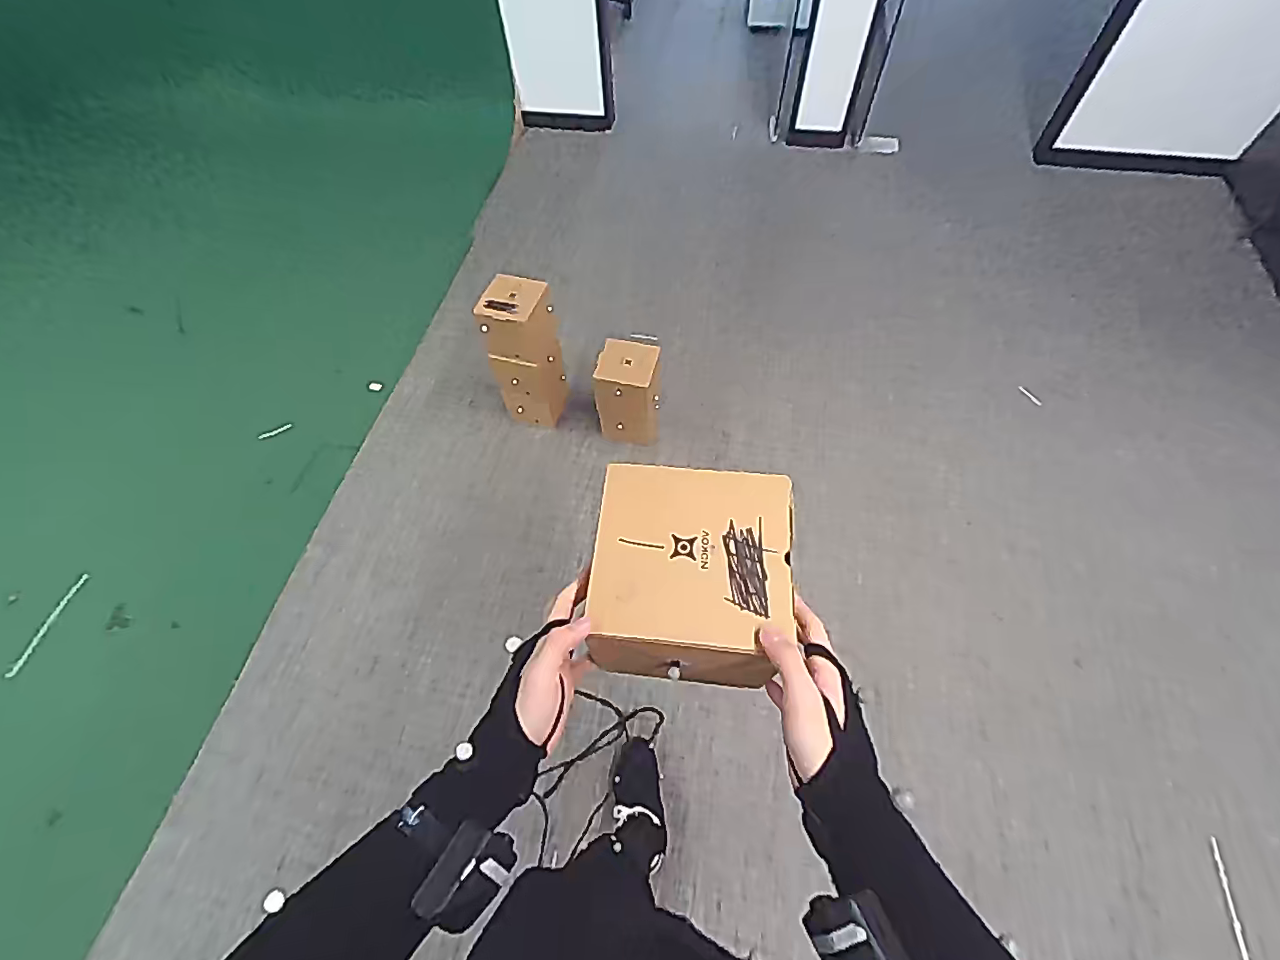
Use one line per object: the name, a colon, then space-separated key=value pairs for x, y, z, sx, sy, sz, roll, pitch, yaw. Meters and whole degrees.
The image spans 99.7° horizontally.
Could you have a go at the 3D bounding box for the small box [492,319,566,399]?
small box: x=-0.353 y=-0.391 z=1.767 sx=0.168 sy=0.176 sz=0.179 roll=14 pitch=61 yaw=10

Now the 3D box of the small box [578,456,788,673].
small box: x=0.044 y=0.093 z=0.551 sx=0.179 sy=0.176 sz=0.168 roll=4 pitch=60 yaw=5

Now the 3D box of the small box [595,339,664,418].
small box: x=-0.028 y=-0.317 z=1.711 sx=0.179 sy=0.176 sz=0.168 roll=12 pitch=61 yaw=9

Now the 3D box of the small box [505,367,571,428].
small box: x=-0.352 y=-0.309 z=1.912 sx=0.168 sy=0.176 sz=0.179 roll=13 pitch=61 yaw=10

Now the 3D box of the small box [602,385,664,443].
small box: x=-0.019 y=-0.244 z=1.857 sx=0.179 sy=0.176 sz=0.168 roll=10 pitch=61 yaw=9
